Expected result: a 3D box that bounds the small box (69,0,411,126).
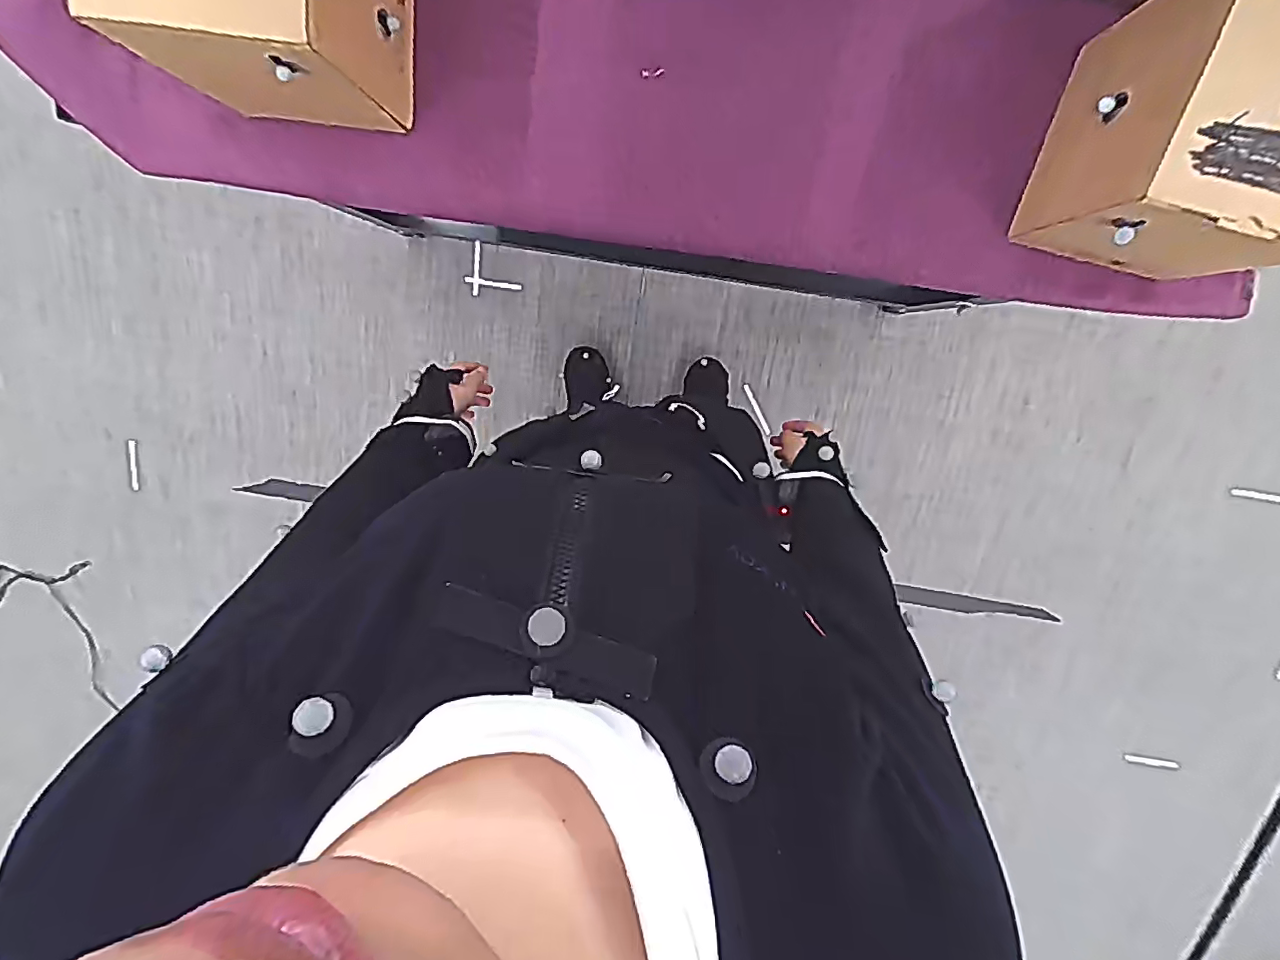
[{"bbox_3d":[-0.312,-0.421,0.448,0.179,0.176,0.168,6,104,-1],"label":"small box"}]
